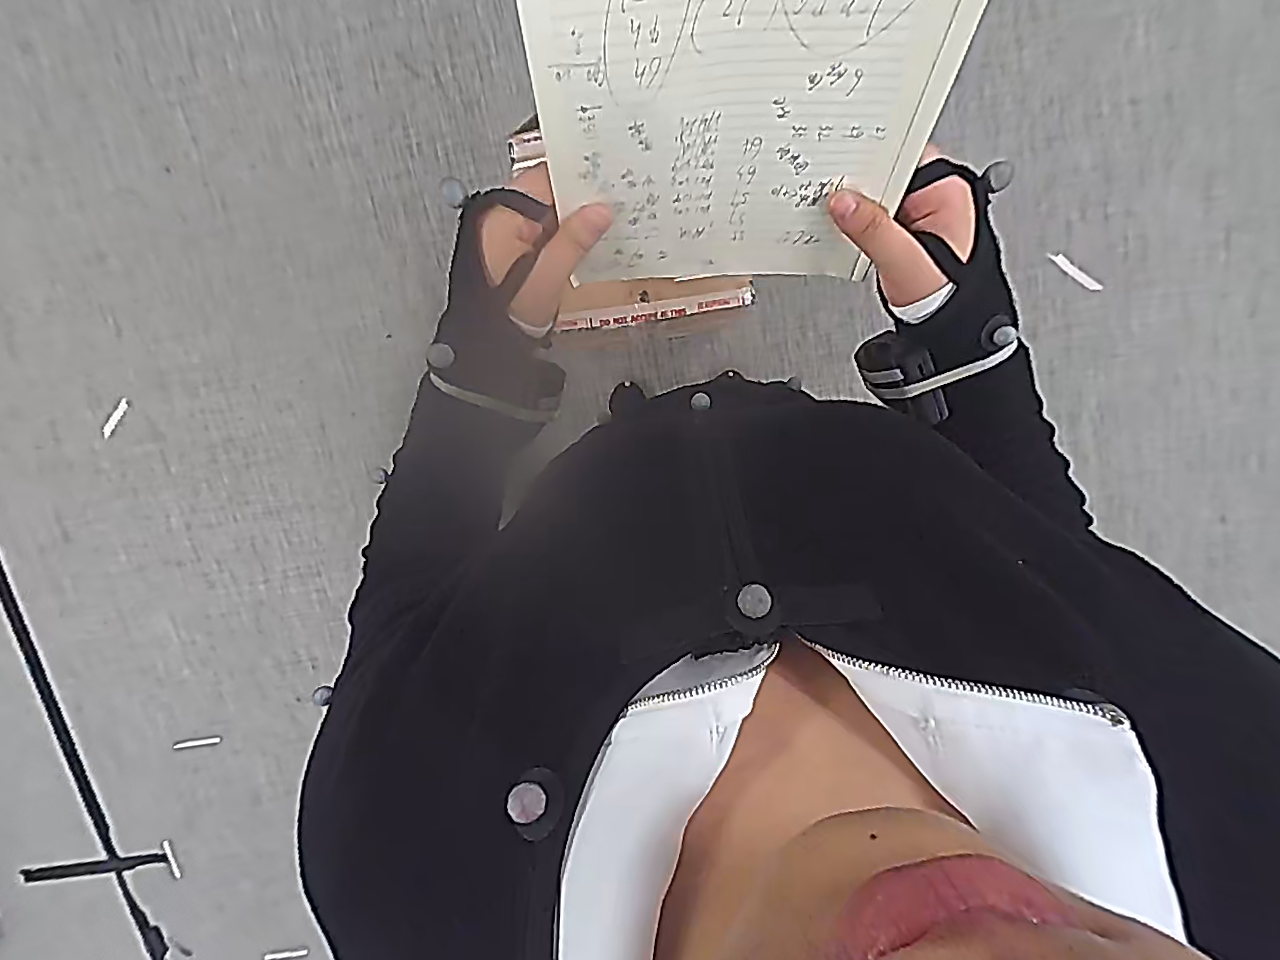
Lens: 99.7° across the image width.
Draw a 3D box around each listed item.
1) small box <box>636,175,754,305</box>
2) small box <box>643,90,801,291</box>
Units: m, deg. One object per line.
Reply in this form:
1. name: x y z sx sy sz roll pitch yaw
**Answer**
1. small box: 0.092 -0.387 0.862 0.179 0.176 0.168 -12 100 3
2. small box: 0.096 -0.357 0.700 0.168 0.176 0.179 -9 101 1
